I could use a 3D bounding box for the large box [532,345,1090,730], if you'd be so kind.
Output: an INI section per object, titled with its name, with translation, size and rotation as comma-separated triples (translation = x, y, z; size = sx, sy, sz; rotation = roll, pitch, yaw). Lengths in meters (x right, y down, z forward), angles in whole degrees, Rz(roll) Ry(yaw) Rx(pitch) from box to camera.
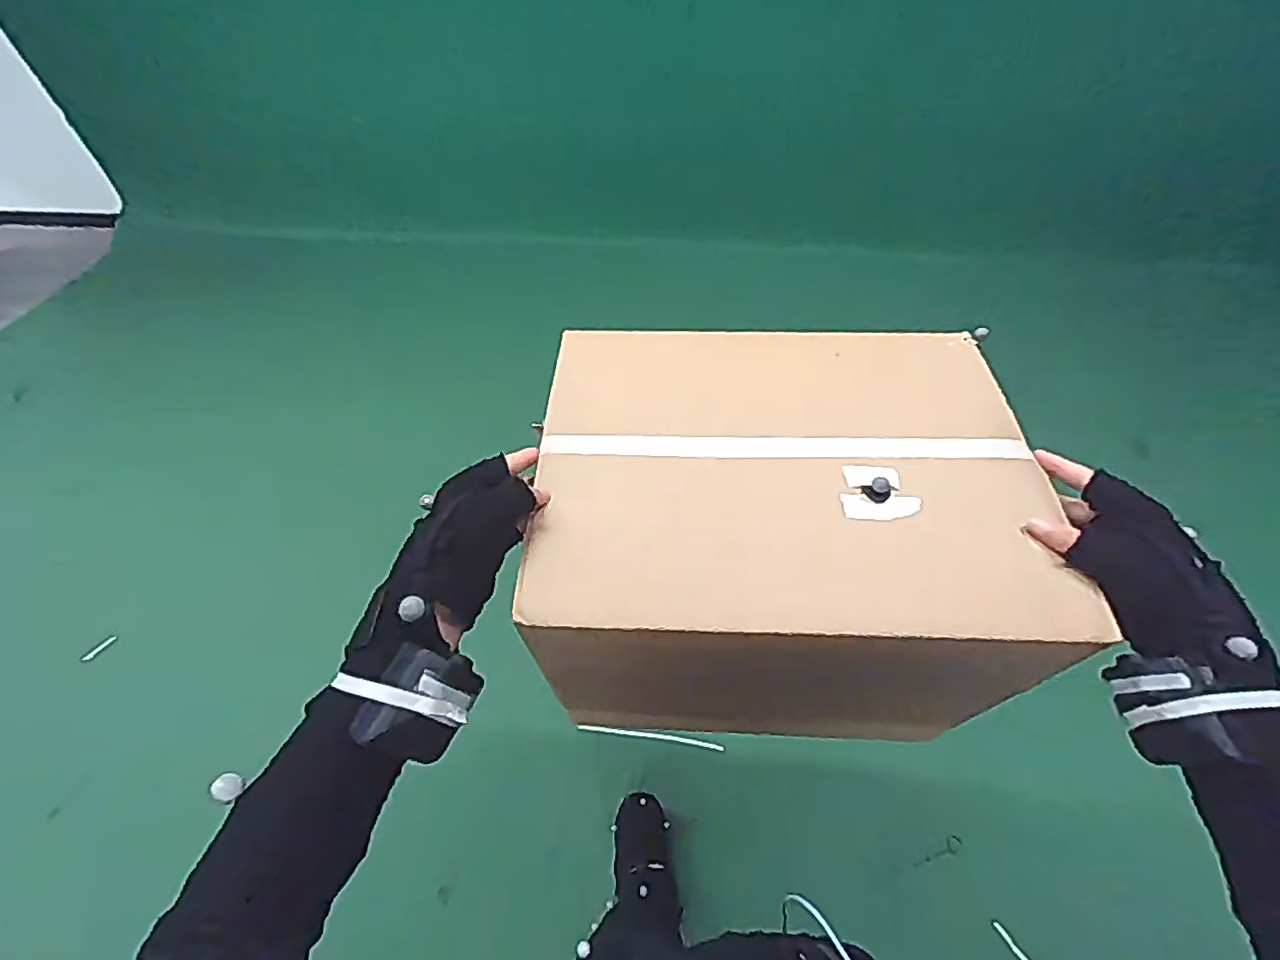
[large box]
translation = 0.122, 0.072, 0.587
size = 0.408, 0.320, 0.320
rotation = 1, 54, 1
